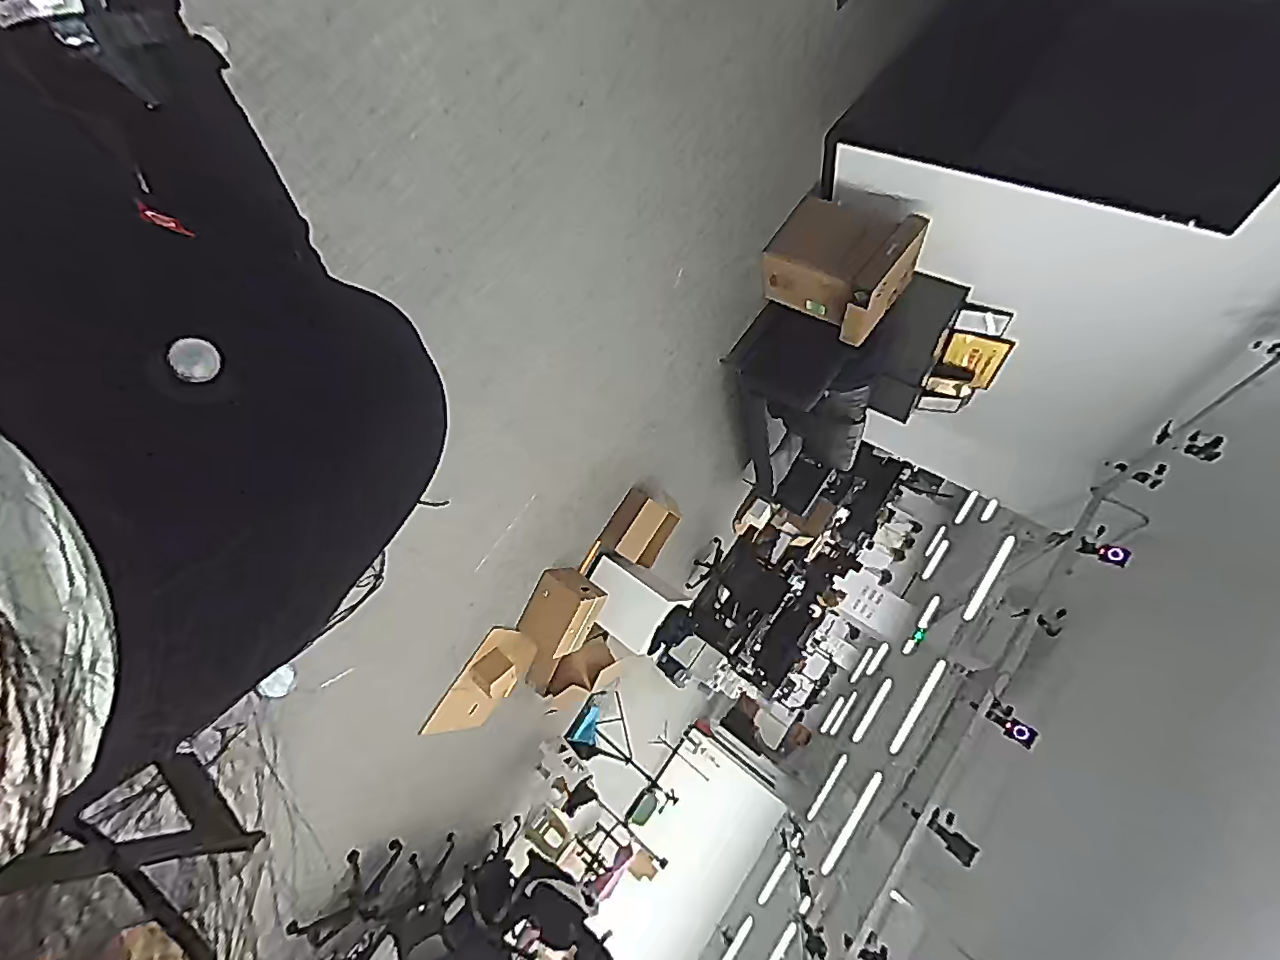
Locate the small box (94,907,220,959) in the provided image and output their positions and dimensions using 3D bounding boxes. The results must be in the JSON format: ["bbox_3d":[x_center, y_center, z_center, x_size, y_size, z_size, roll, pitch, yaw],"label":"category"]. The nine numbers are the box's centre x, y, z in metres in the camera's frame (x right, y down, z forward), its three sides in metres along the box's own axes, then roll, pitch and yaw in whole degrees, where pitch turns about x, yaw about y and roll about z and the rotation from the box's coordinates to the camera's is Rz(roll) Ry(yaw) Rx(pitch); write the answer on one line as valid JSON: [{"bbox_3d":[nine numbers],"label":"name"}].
[{"bbox_3d":[-0.926,0.956,1.006,0.179,0.176,0.168,-50,154,-13],"label":"small box"}]
